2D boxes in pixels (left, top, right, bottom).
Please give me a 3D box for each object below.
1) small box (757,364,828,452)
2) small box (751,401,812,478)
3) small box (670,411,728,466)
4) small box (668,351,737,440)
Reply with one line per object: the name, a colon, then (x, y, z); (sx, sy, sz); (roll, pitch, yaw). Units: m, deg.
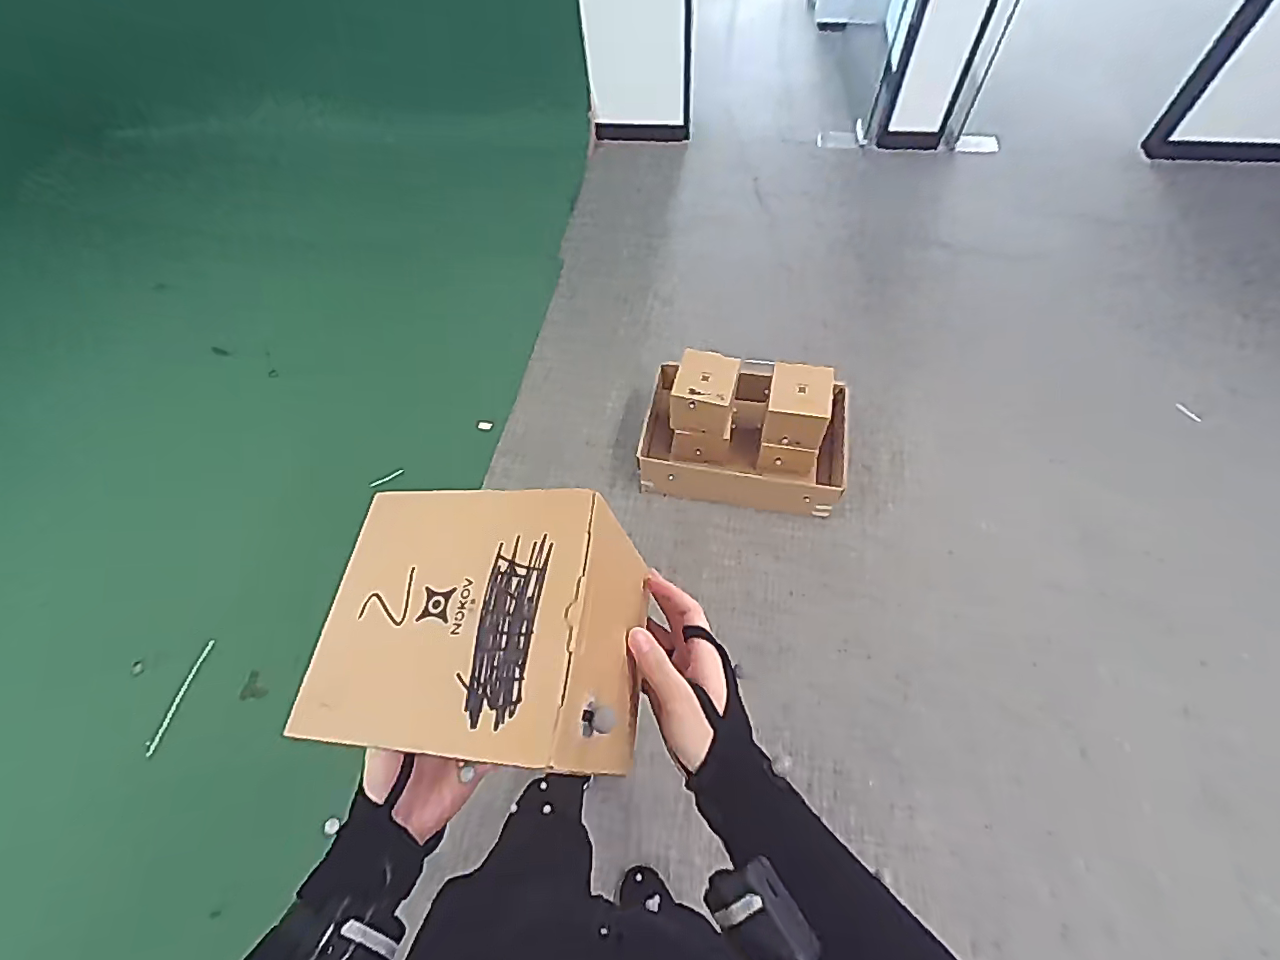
small box: (0.438, -0.208, 1.566); (0.168, 0.176, 0.179); (9, 62, 10)
small box: (0.448, -0.124, 1.705); (0.168, 0.176, 0.179); (8, 62, 8)
small box: (0.190, -0.165, 1.739); (0.168, 0.176, 0.179); (8, 62, 6)
small box: (0.179, -0.248, 1.597); (0.168, 0.176, 0.179); (14, 61, 10)
